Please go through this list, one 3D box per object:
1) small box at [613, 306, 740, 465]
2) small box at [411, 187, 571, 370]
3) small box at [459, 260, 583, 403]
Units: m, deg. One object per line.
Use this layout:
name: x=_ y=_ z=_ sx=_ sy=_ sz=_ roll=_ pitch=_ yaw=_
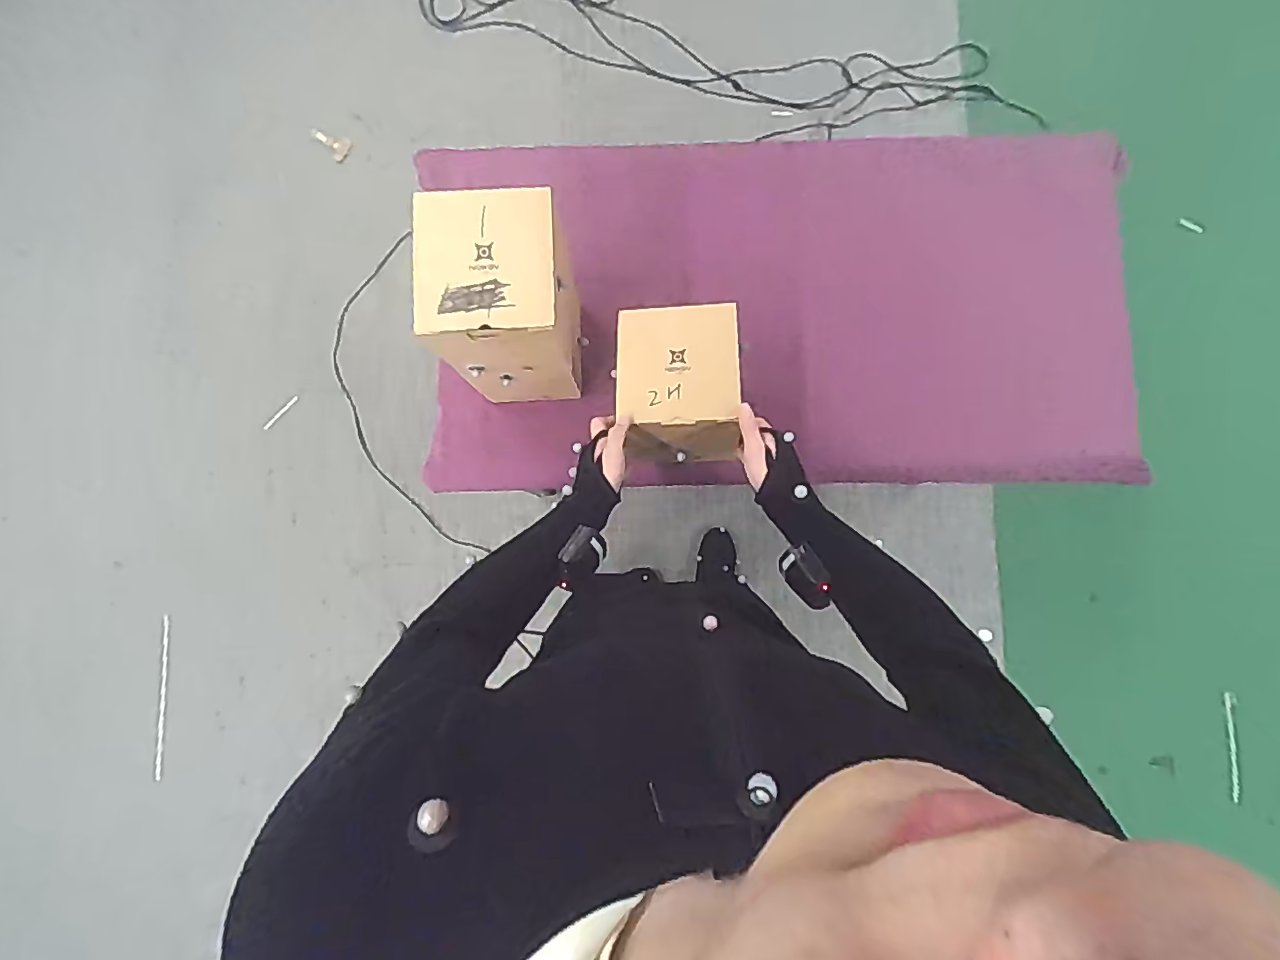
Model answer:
small box: x=0.060 y=-0.131 z=0.795 sx=0.168 sy=0.176 sz=0.179 roll=-1 pitch=74 yaw=9
small box: x=-0.183 y=-0.248 z=0.709 sx=0.168 sy=0.176 sz=0.179 roll=-3 pitch=84 yaw=0
small box: x=-0.184 y=-0.232 z=0.874 sx=0.168 sy=0.176 sz=0.179 roll=-3 pitch=84 yaw=0
